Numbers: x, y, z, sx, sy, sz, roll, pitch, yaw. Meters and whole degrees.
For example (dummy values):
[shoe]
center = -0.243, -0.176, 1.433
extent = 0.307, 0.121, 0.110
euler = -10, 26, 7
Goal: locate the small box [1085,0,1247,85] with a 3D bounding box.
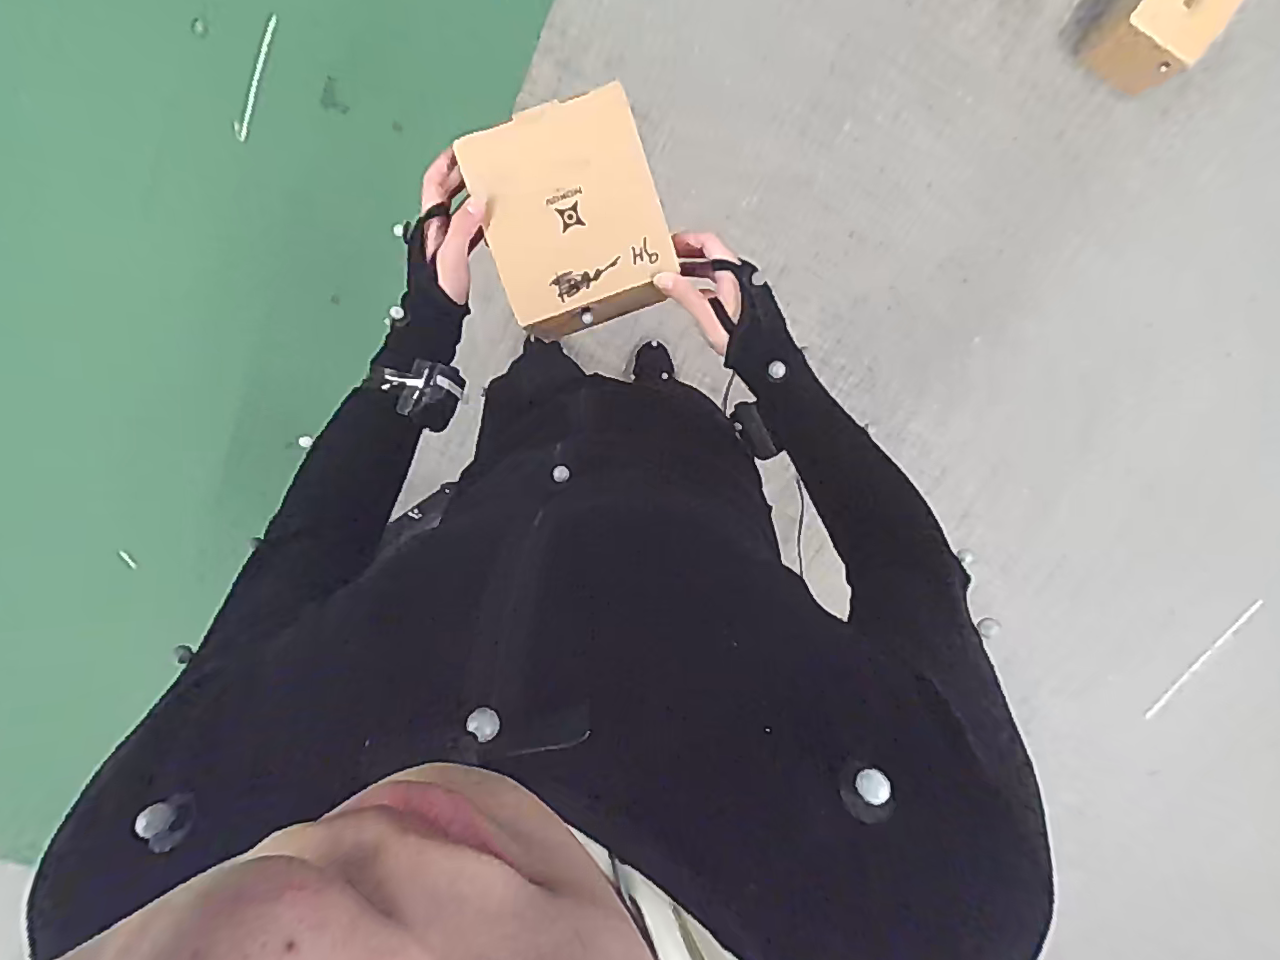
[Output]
[small box]
center = 1.116, -0.988, 1.146
extent = 0.179, 0.176, 0.168
euler = 30, 107, -4
